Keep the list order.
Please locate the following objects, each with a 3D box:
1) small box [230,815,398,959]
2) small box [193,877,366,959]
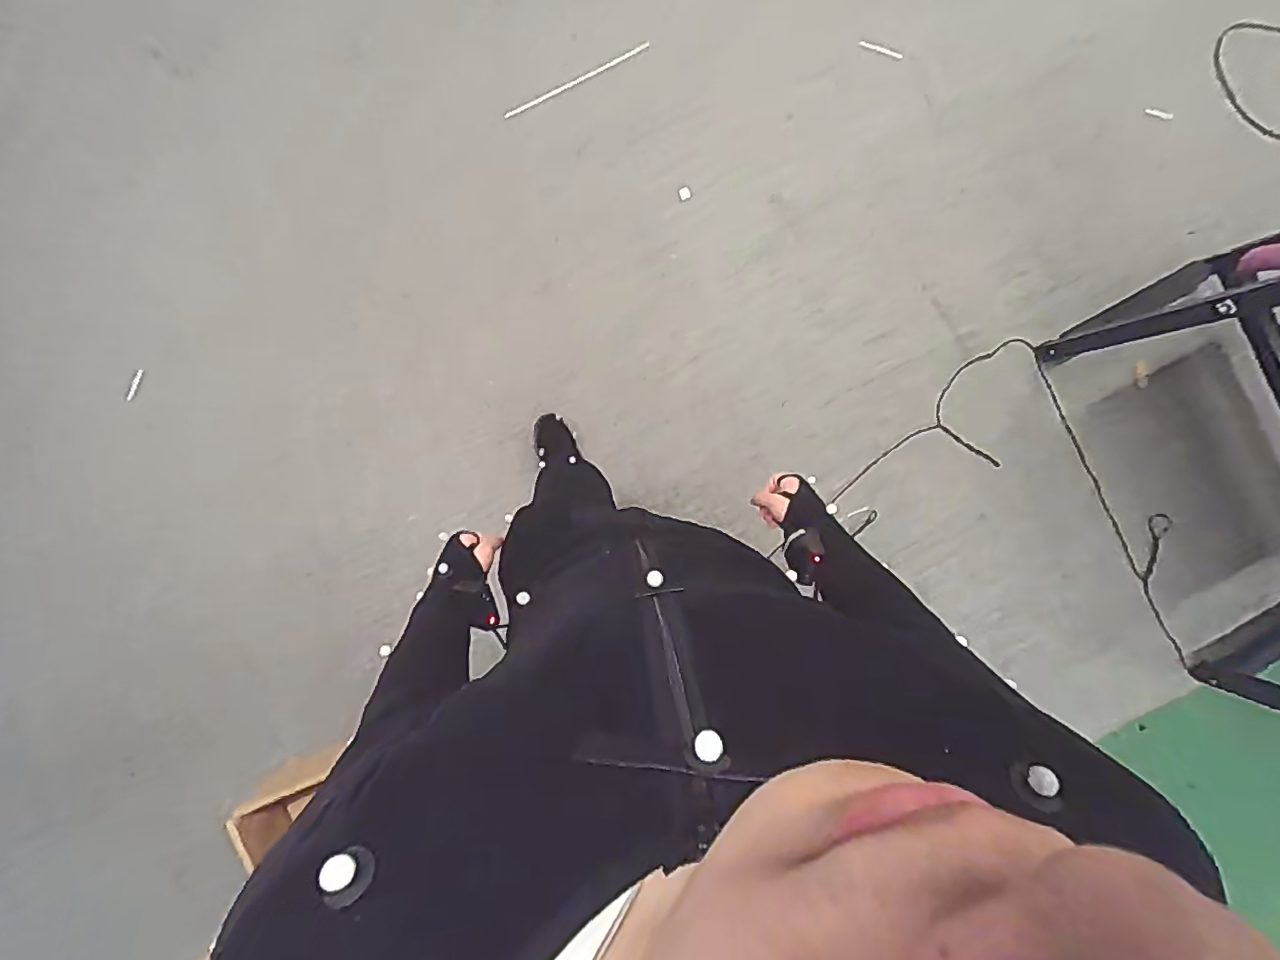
[{"bbox_3d":[-0.556,0.739,0.955,0.179,0.176,0.168,-22,92,-1],"label":"small box"},{"bbox_3d":[-0.545,0.742,0.792,0.179,0.176,0.168,-21,92,-2],"label":"small box"}]
